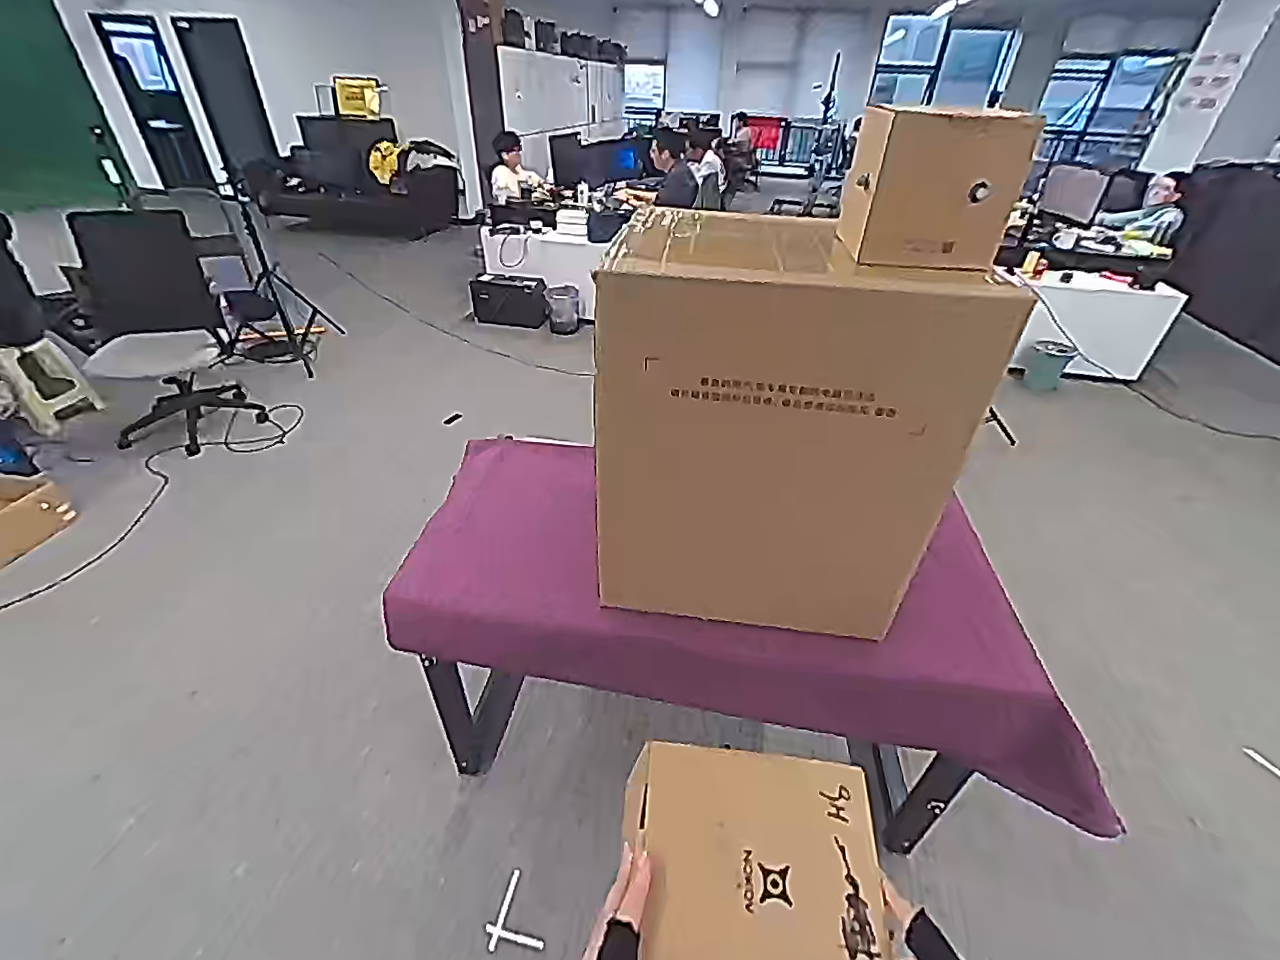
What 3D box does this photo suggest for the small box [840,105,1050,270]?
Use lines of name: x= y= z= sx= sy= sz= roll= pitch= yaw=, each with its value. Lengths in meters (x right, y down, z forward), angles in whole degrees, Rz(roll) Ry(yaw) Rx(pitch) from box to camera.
small box: x=0.377 y=-0.385 z=0.709 sx=0.168 sy=0.176 sz=0.179 roll=6 pitch=36 yaw=4
